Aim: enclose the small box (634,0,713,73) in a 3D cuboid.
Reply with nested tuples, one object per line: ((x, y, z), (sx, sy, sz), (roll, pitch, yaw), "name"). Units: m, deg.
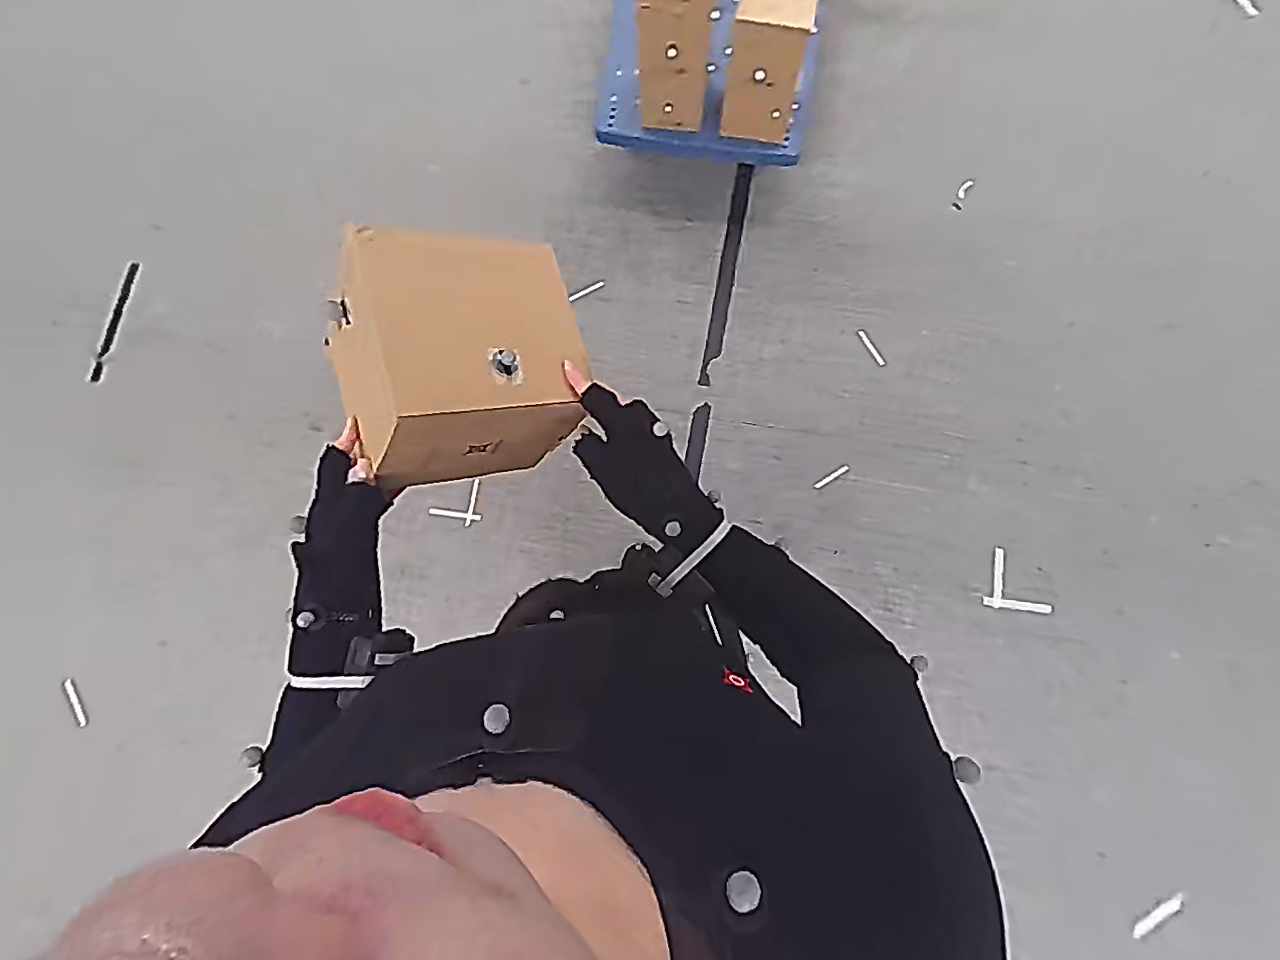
((0.081, -1.076, 1.235), (0.168, 0.176, 0.179), (6, 84, 3), "small box")

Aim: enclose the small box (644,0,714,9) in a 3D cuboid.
((0.085, -1.100, 1.074), (0.168, 0.176, 0.179), (9, 83, 3), "small box")

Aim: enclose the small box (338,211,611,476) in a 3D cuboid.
((-0.158, -0.117, 0.501), (0.179, 0.168, 0.176), (-10, 77, -37), "small box")

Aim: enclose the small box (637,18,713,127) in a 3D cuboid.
((0.090, -1.056, 1.399), (0.168, 0.176, 0.179), (8, 82, 3), "small box")

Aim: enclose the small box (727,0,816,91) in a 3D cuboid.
((0.298, -1.034, 1.221), (0.168, 0.176, 0.179), (11, 84, 4), "small box")
